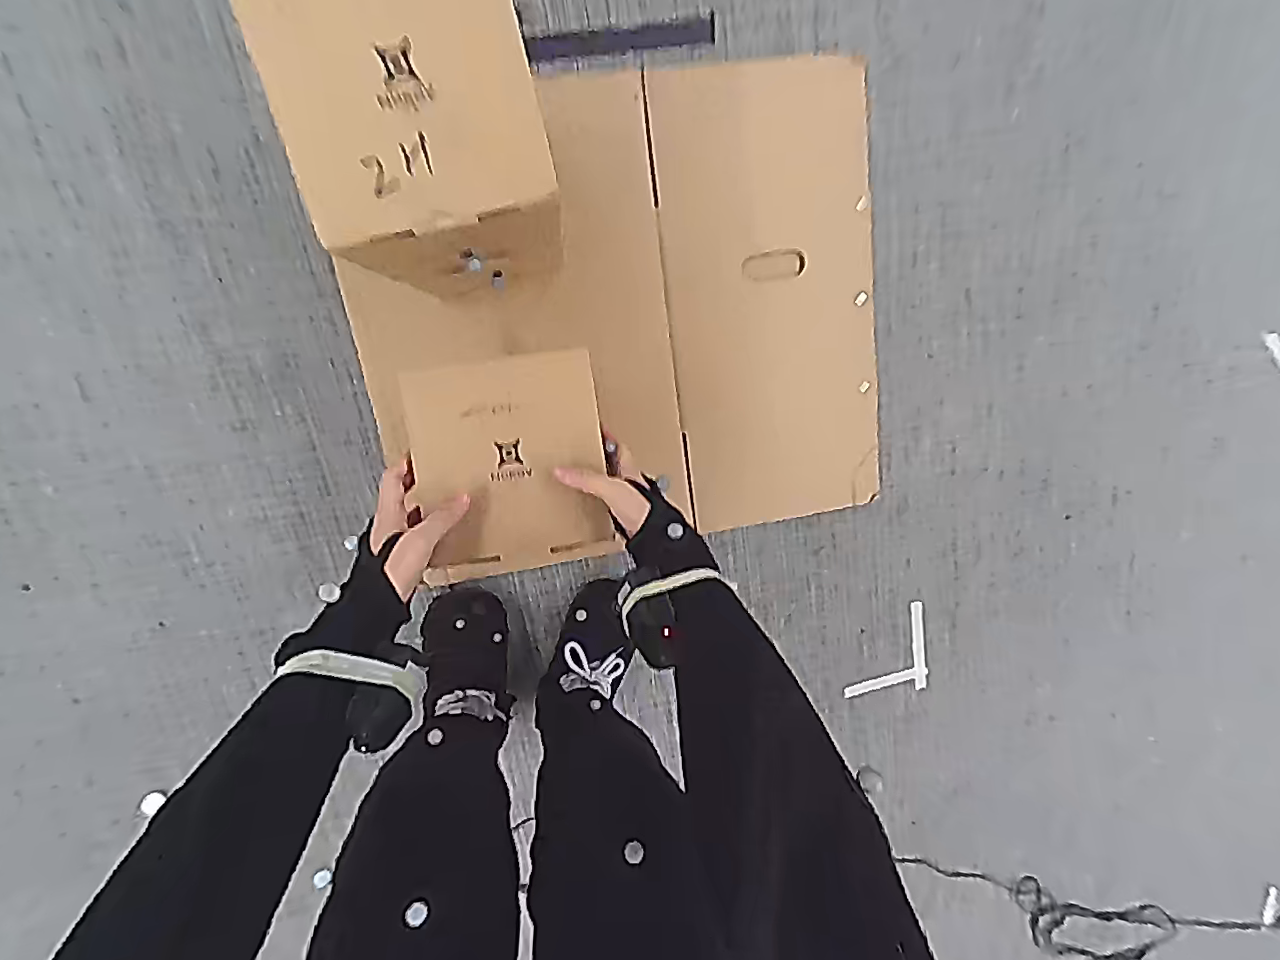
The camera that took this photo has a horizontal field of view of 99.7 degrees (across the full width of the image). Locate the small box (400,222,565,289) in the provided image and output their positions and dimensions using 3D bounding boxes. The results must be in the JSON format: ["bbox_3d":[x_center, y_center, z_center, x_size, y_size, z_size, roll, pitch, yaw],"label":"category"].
[{"bbox_3d":[-0.182,-0.312,0.576,0.168,0.176,0.179,-17,106,-5],"label":"small box"}]

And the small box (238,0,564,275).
[{"bbox_3d":[-0.161,-0.274,0.417,0.168,0.176,0.179,-15,105,-4],"label":"small box"}]

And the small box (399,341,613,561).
[{"bbox_3d":[-0.123,-0.029,0.556,0.168,0.176,0.179,-10,92,-6],"label":"small box"}]
